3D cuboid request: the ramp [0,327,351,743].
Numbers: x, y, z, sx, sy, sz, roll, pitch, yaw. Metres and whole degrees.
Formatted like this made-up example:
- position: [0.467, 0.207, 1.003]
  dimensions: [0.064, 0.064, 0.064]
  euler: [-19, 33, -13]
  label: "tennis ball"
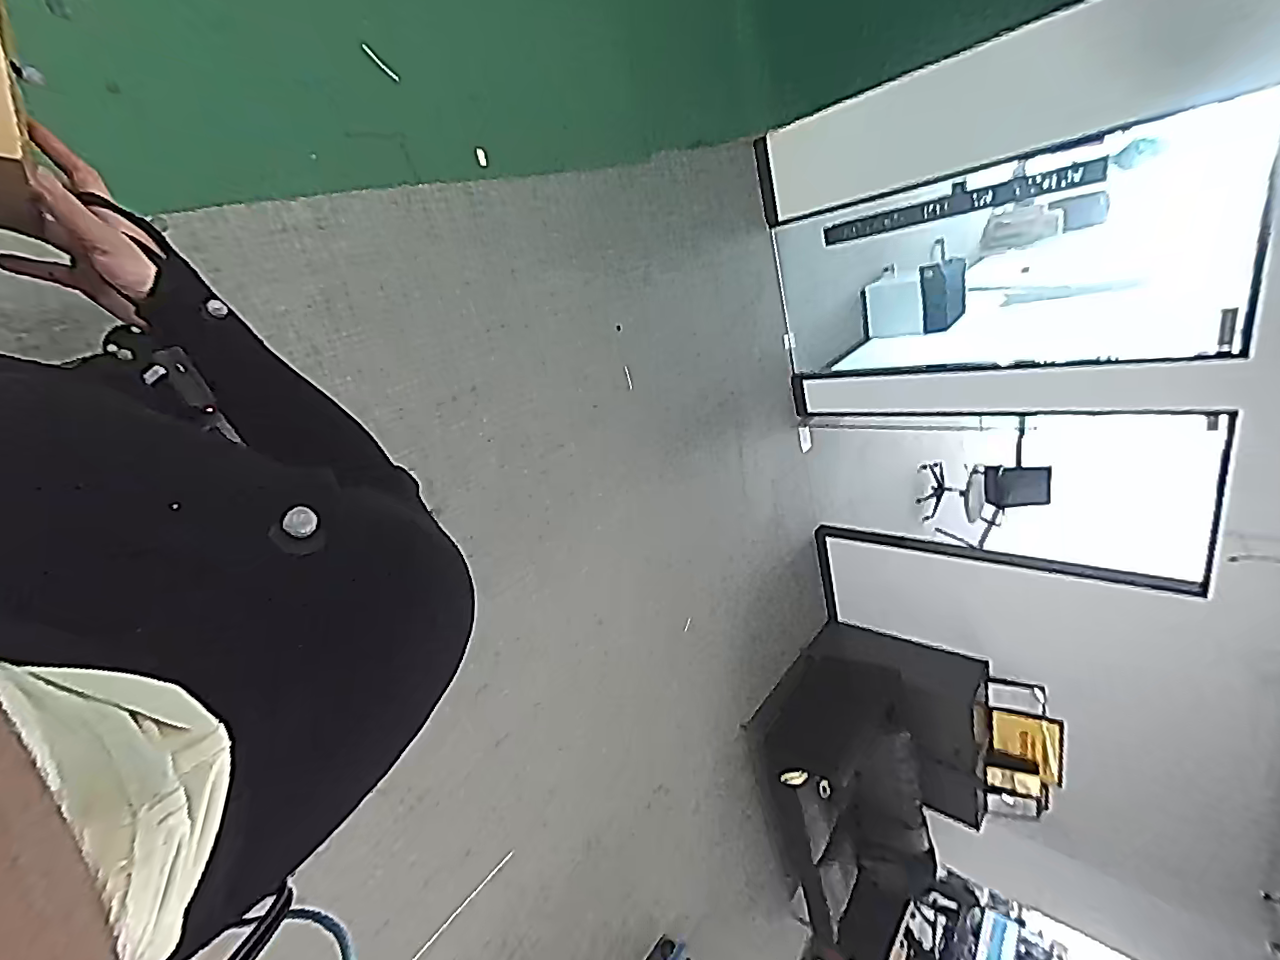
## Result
- position: [-1.145, 0.175, 1.351]
  dimensions: [0.509, 0.206, 0.991]
  euler: [-37, 121, -37]
  label: "ramp"
